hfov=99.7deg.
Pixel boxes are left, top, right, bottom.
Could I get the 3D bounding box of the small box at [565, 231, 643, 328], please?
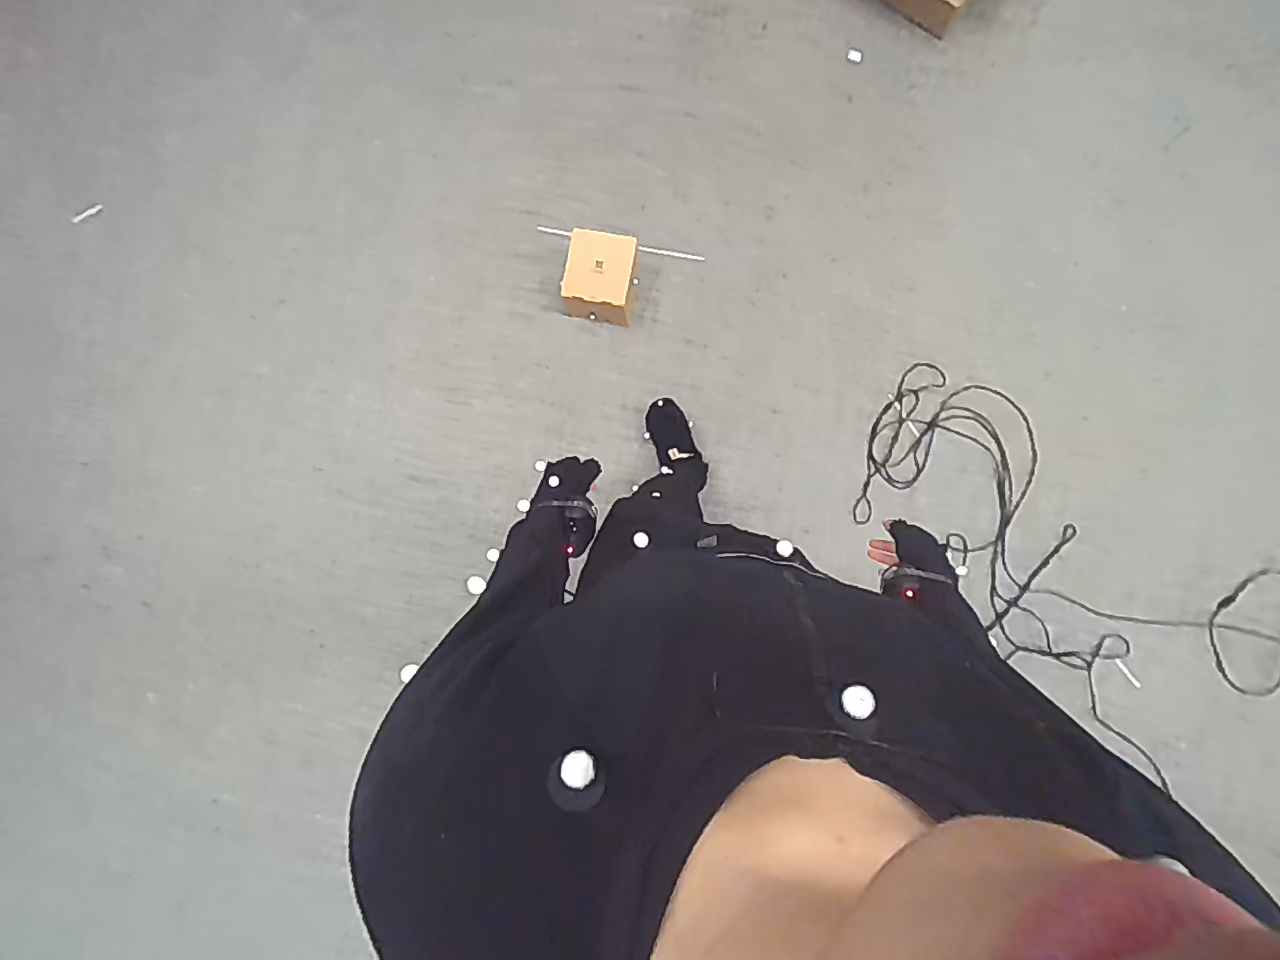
[{"bbox_3d":[-0.087,-0.519,1.419,0.168,0.176,0.179,11,89,4],"label":"small box"}]
